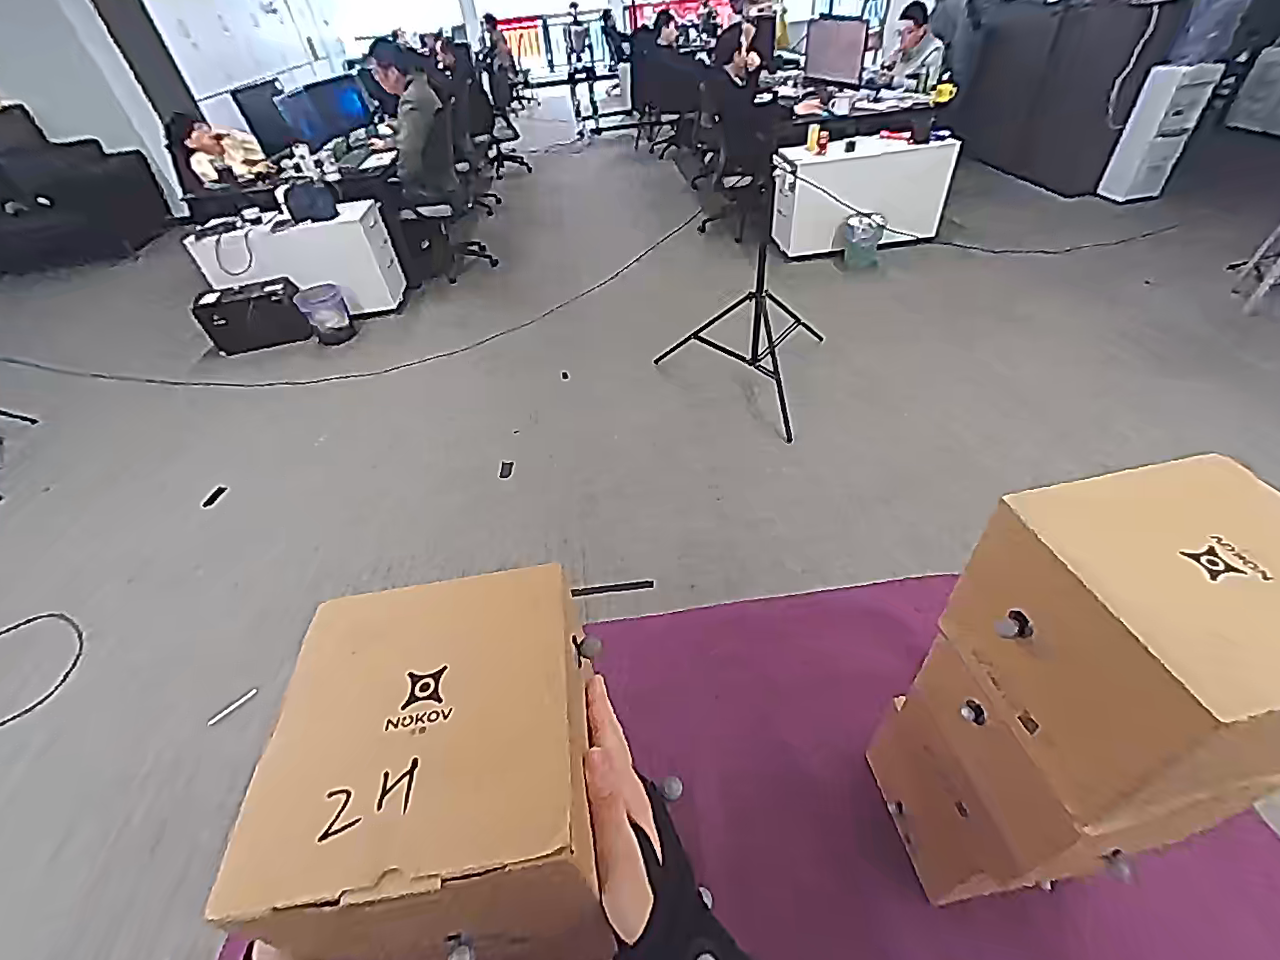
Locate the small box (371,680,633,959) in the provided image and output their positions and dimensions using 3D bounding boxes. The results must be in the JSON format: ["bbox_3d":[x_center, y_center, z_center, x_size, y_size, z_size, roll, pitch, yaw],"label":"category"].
[{"bbox_3d":[-0.101,0.304,0.473,0.168,0.176,0.179,-9,44,-1],"label":"small box"}]

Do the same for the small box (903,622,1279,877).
[{"bbox_3d":[0.376,0.228,0.491,0.179,0.176,0.168,-11,42,-5],"label":"small box"}]

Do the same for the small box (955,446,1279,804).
[{"bbox_3d":[0.359,0.104,0.387,0.179,0.176,0.168,-12,43,-4],"label":"small box"}]

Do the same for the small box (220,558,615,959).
[{"bbox_3d":[-0.112,0.180,0.358,0.168,0.176,0.179,-9,42,-3],"label":"small box"}]
